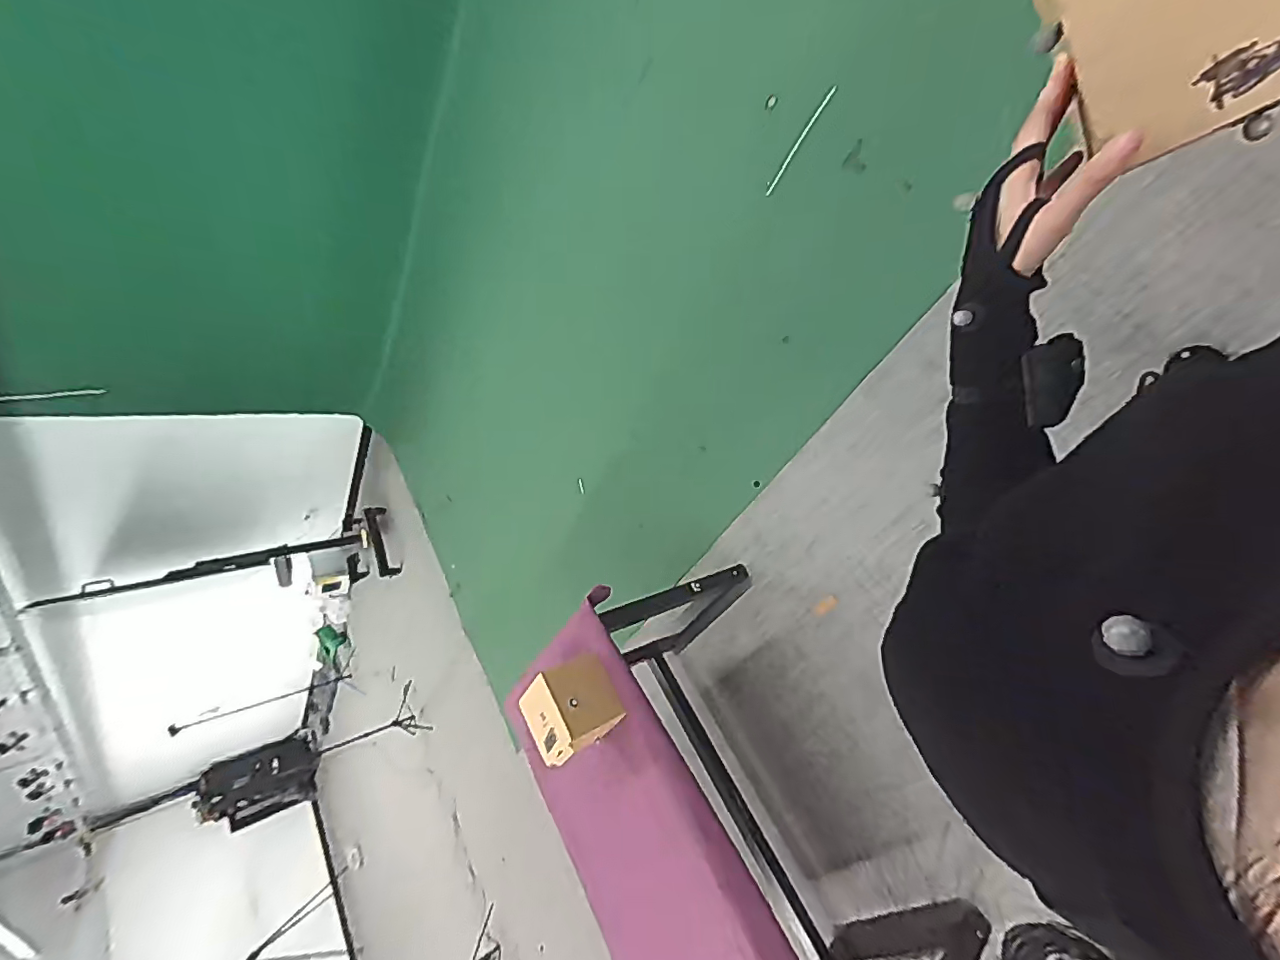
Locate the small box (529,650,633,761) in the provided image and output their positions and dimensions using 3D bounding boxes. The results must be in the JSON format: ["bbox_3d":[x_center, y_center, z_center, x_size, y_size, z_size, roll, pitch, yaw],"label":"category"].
[{"bbox_3d":[-0.147,0.556,1.352,0.179,0.176,0.168,55,131,27],"label":"small box"}]

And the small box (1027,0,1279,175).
[{"bbox_3d":[0.353,-0.316,0.328,0.168,0.176,0.179,-20,98,42],"label":"small box"}]
